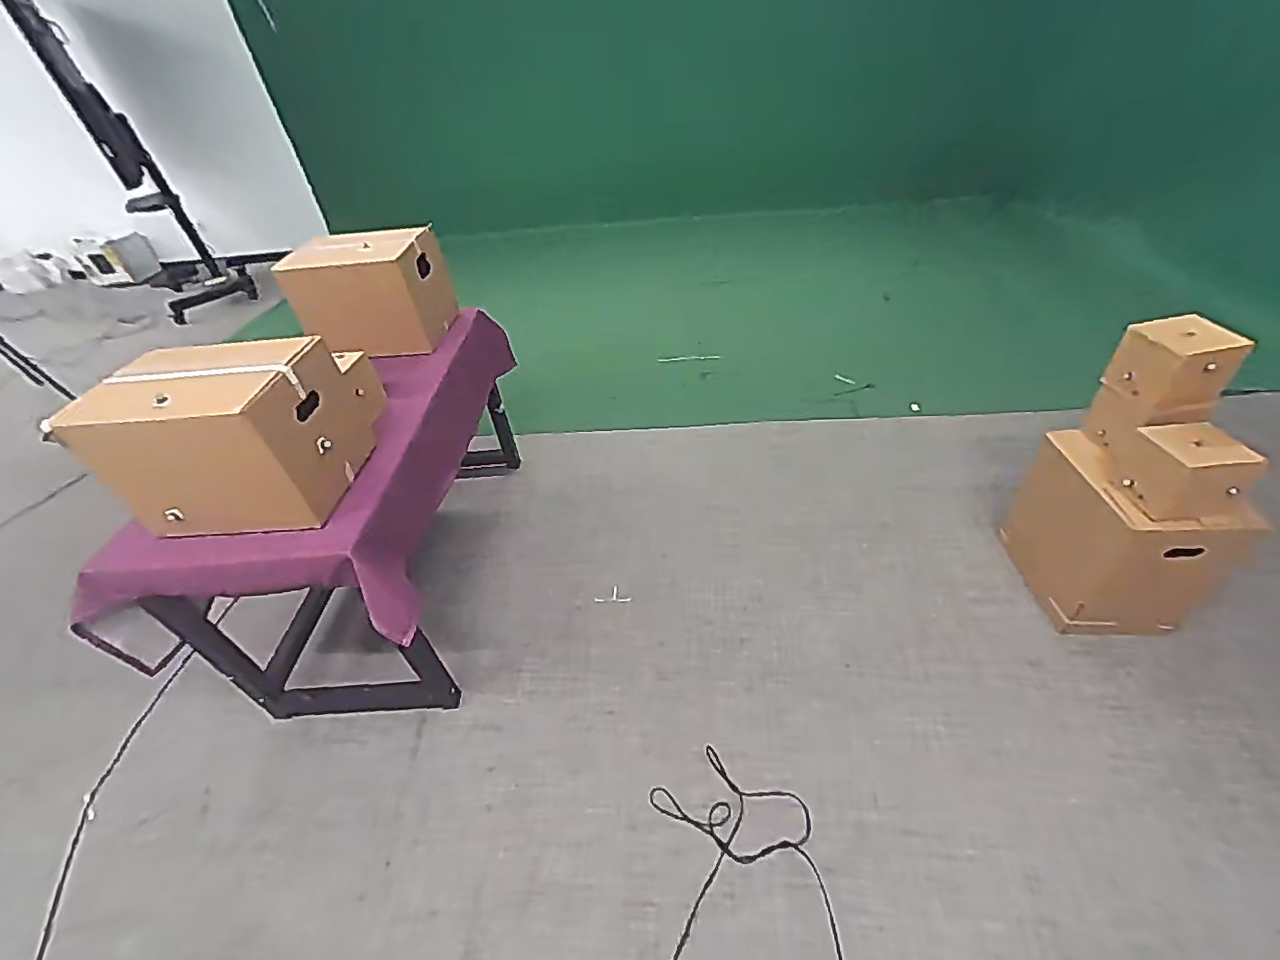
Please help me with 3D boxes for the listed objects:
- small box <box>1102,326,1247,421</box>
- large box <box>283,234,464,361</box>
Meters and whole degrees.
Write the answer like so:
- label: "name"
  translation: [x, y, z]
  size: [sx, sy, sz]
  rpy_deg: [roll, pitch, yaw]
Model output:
- label: "small box"
  translation: [1.363, -0.273, 1.397]
  size: [0.179, 0.176, 0.168]
  rpy_deg: [-10, 41, -1]
- label: "large box"
  translation: [-0.870, -0.616, 1.824]
  size: [0.408, 0.320, 0.320]
  rpy_deg: [-1, 41, 5]
